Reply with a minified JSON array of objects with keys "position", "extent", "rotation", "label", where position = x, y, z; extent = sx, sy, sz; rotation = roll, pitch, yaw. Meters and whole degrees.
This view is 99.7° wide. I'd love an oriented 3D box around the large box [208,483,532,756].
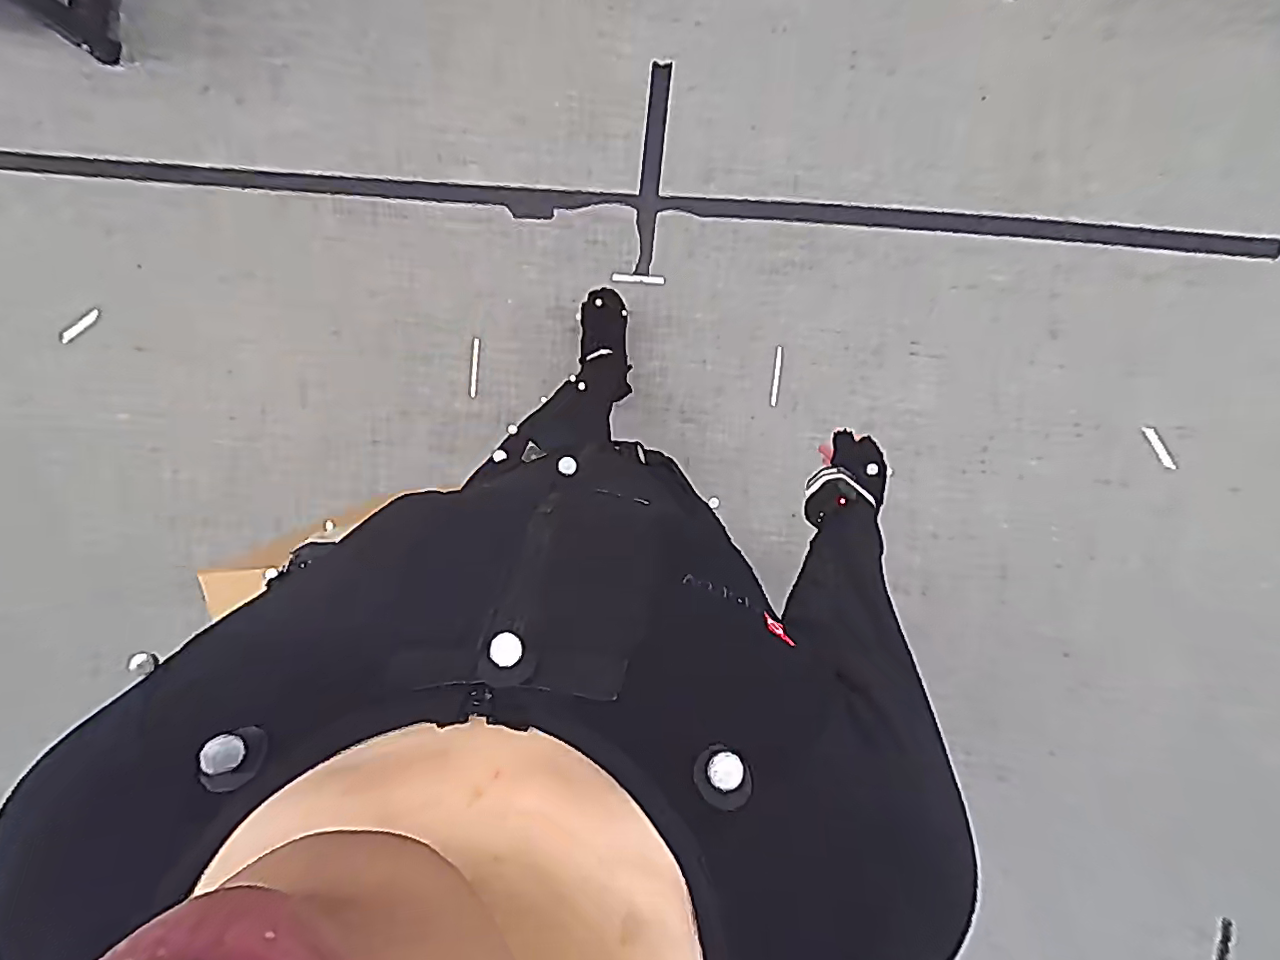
[{"position":[-0.419,0.214,0.960],"extent":[0.320,0.408,0.320],"rotation":[-8,103,10],"label":"large box"}]
